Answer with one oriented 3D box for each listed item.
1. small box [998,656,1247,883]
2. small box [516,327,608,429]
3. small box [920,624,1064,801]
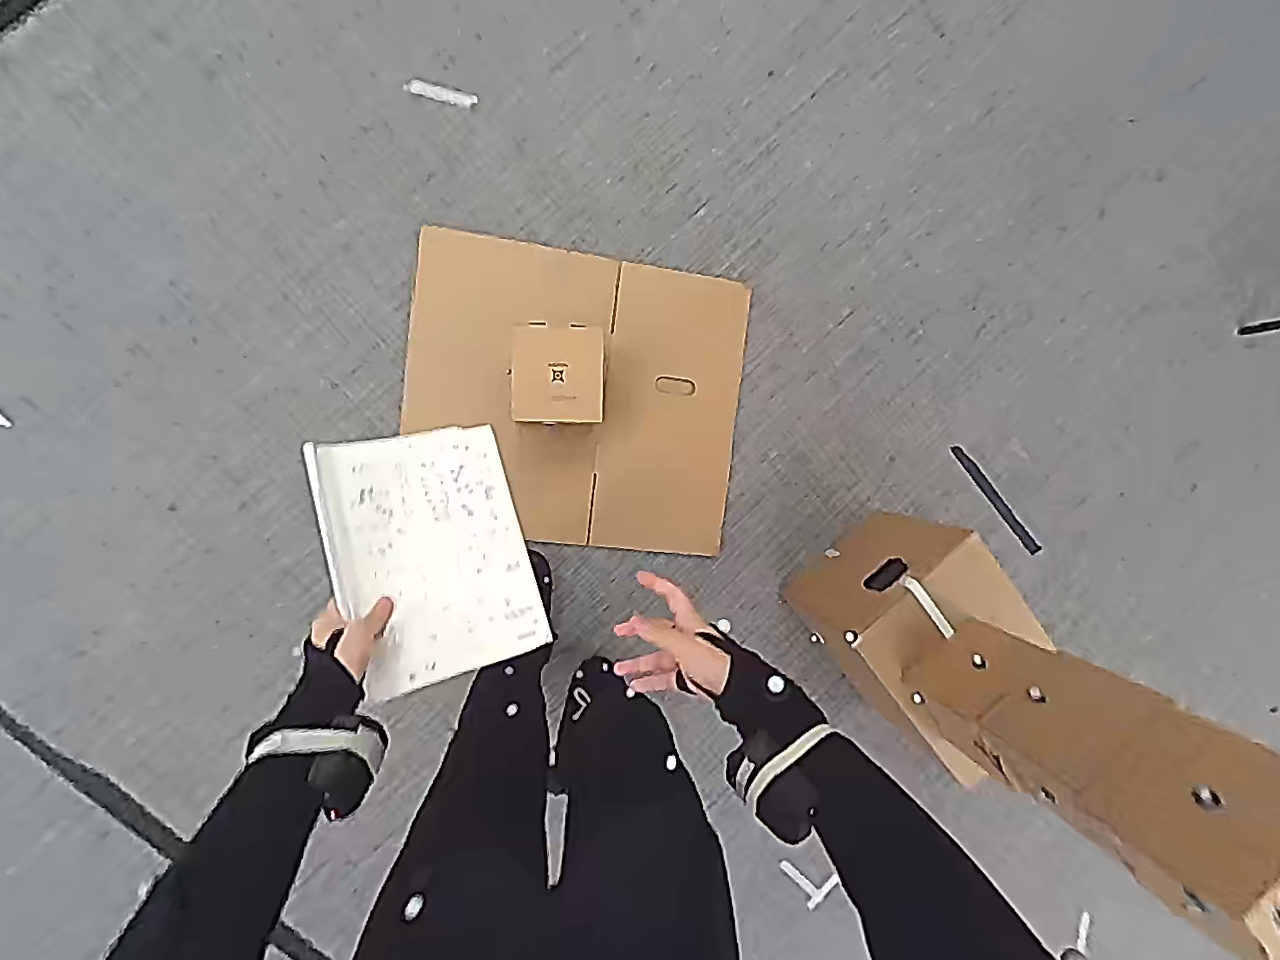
[{"bbox_3d":[0.641,0.383,0.746,0.179,0.176,0.168,-40,100,-3],"label":"small box"},{"bbox_3d":[-0.153,-0.188,1.044,0.168,0.176,0.179,0,96,-10],"label":"small box"},{"bbox_3d":[0.609,0.377,0.907,0.179,0.176,0.168,-37,99,-5],"label":"small box"}]
